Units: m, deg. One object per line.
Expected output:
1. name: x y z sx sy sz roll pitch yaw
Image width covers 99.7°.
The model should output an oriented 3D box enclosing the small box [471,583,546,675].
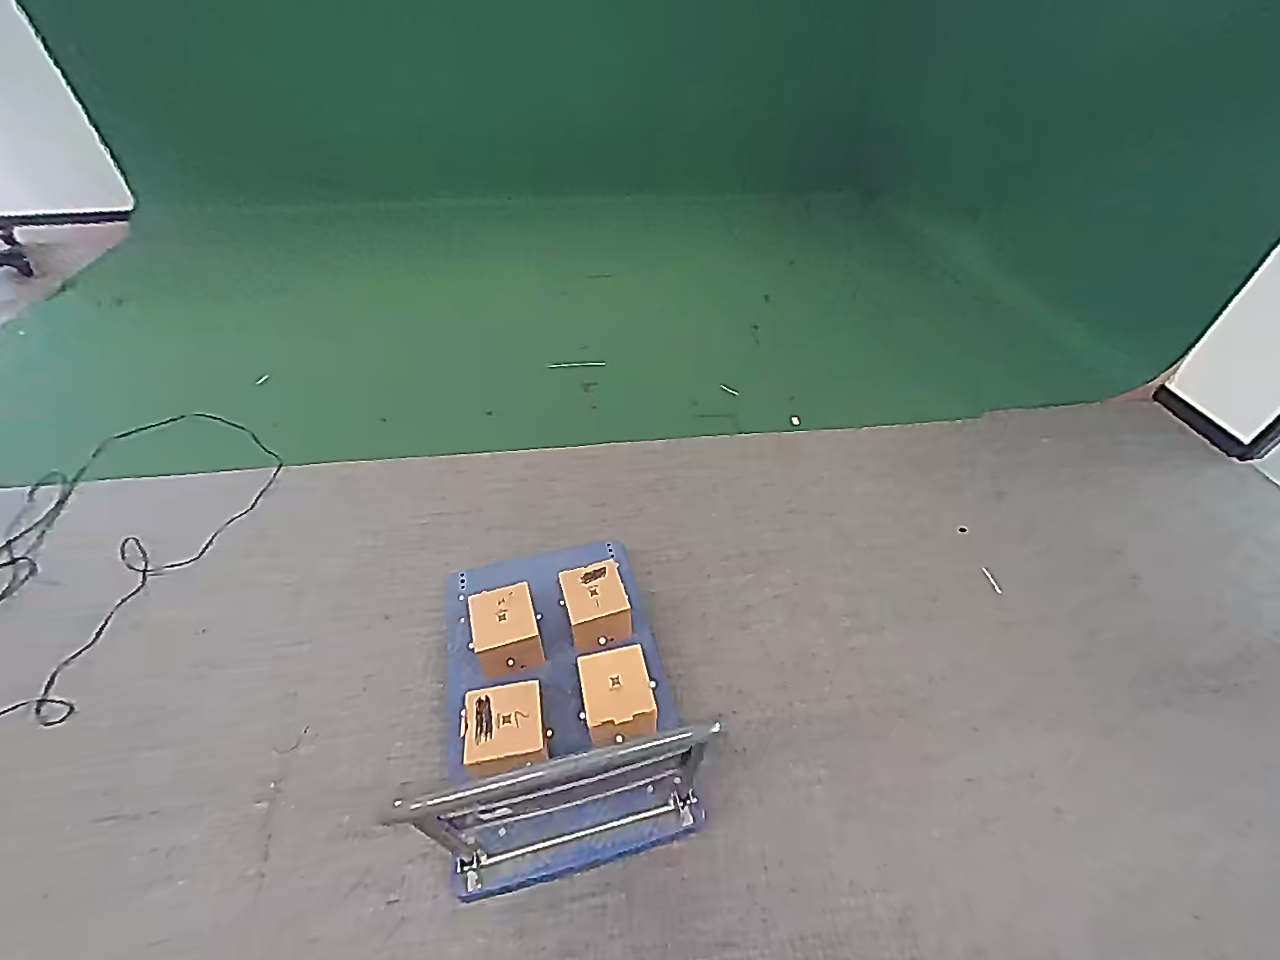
1. small box: -0.364 0.423 1.513 0.168 0.176 0.179 -12 47 -14

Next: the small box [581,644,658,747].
1. small box: -0.057 0.554 1.388 0.168 0.176 0.179 -10 47 -10

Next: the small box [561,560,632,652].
1. small box: -0.126 0.366 1.570 0.168 0.176 0.179 -13 48 -12
